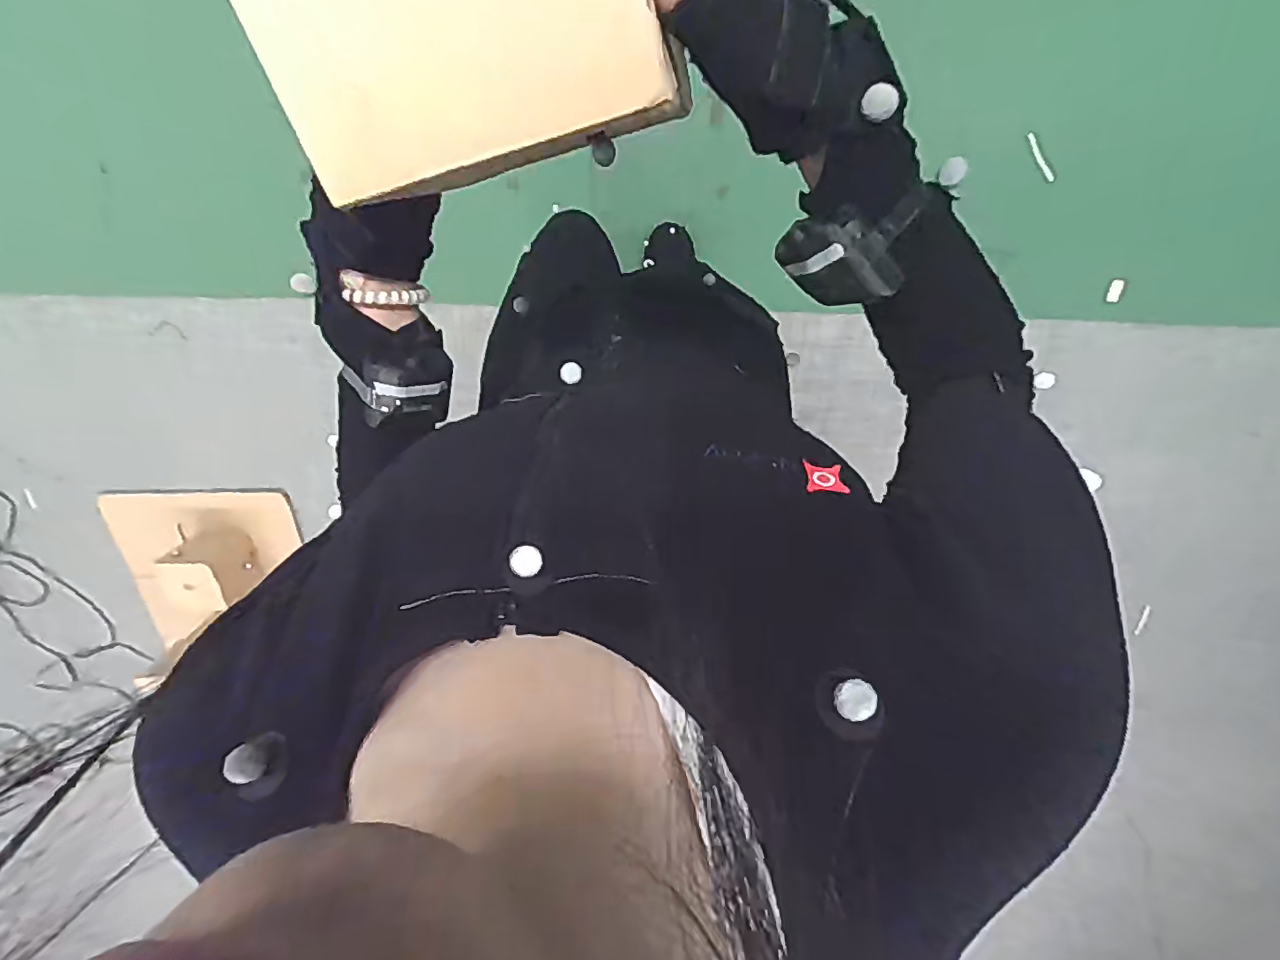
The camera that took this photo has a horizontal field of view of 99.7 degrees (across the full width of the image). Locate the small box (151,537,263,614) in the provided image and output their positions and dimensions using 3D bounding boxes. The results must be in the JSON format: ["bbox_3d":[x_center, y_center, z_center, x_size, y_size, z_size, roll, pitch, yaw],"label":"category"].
[{"bbox_3d":[-1.297,0.284,1.632,0.179,0.176,0.168,-1,114,3],"label":"small box"}]
